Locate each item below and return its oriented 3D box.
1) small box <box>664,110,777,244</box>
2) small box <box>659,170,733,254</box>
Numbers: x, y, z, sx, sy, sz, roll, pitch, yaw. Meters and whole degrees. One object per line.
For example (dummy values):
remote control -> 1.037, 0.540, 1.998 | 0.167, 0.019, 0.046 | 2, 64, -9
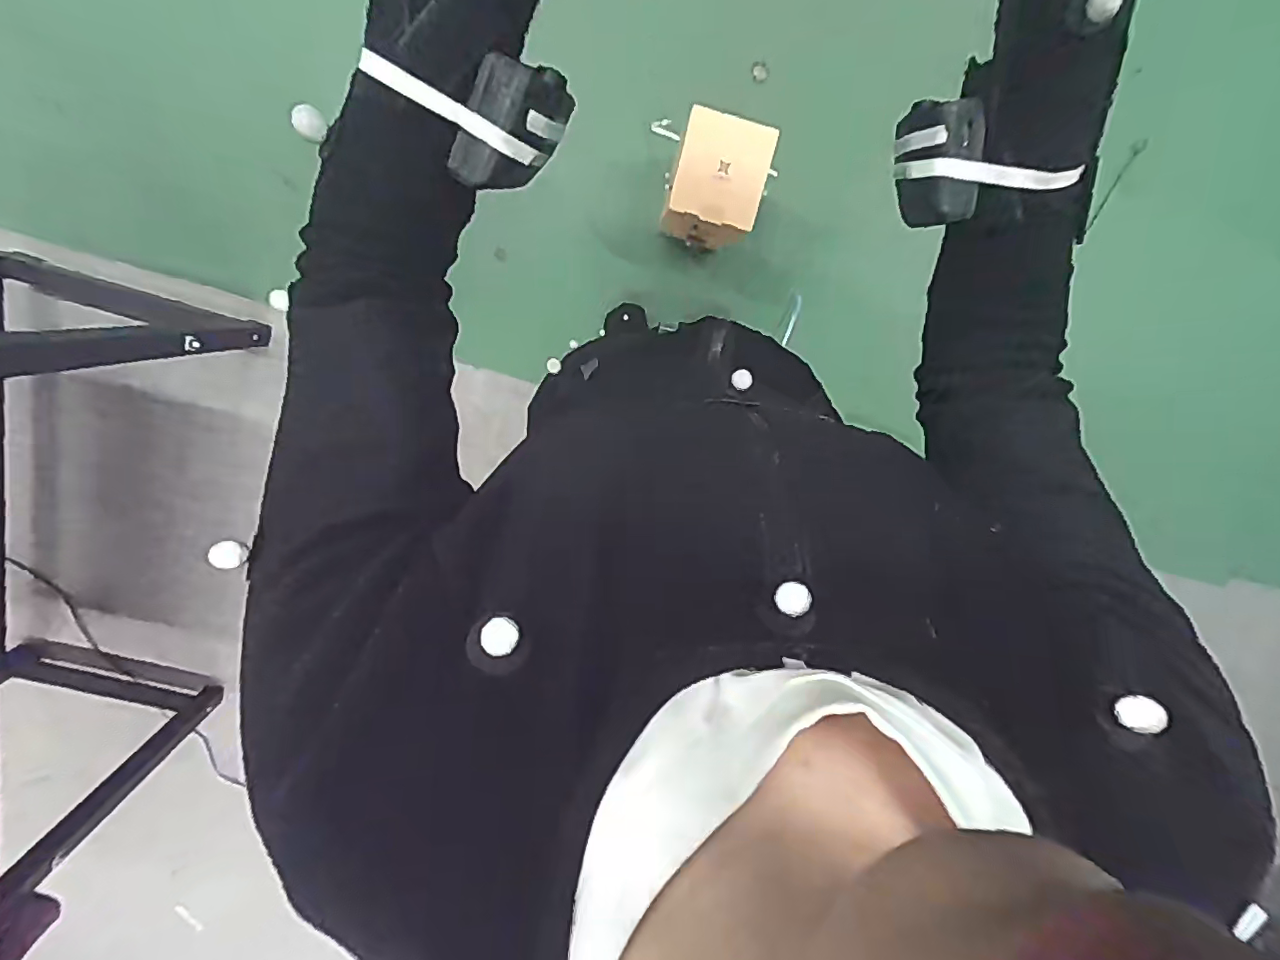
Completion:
small box -> 0.148, -0.586, 1.072 | 0.168, 0.176, 0.179 | 12, 107, -6
small box -> 0.144, -0.632, 1.228 | 0.168, 0.176, 0.179 | 15, 106, -6
